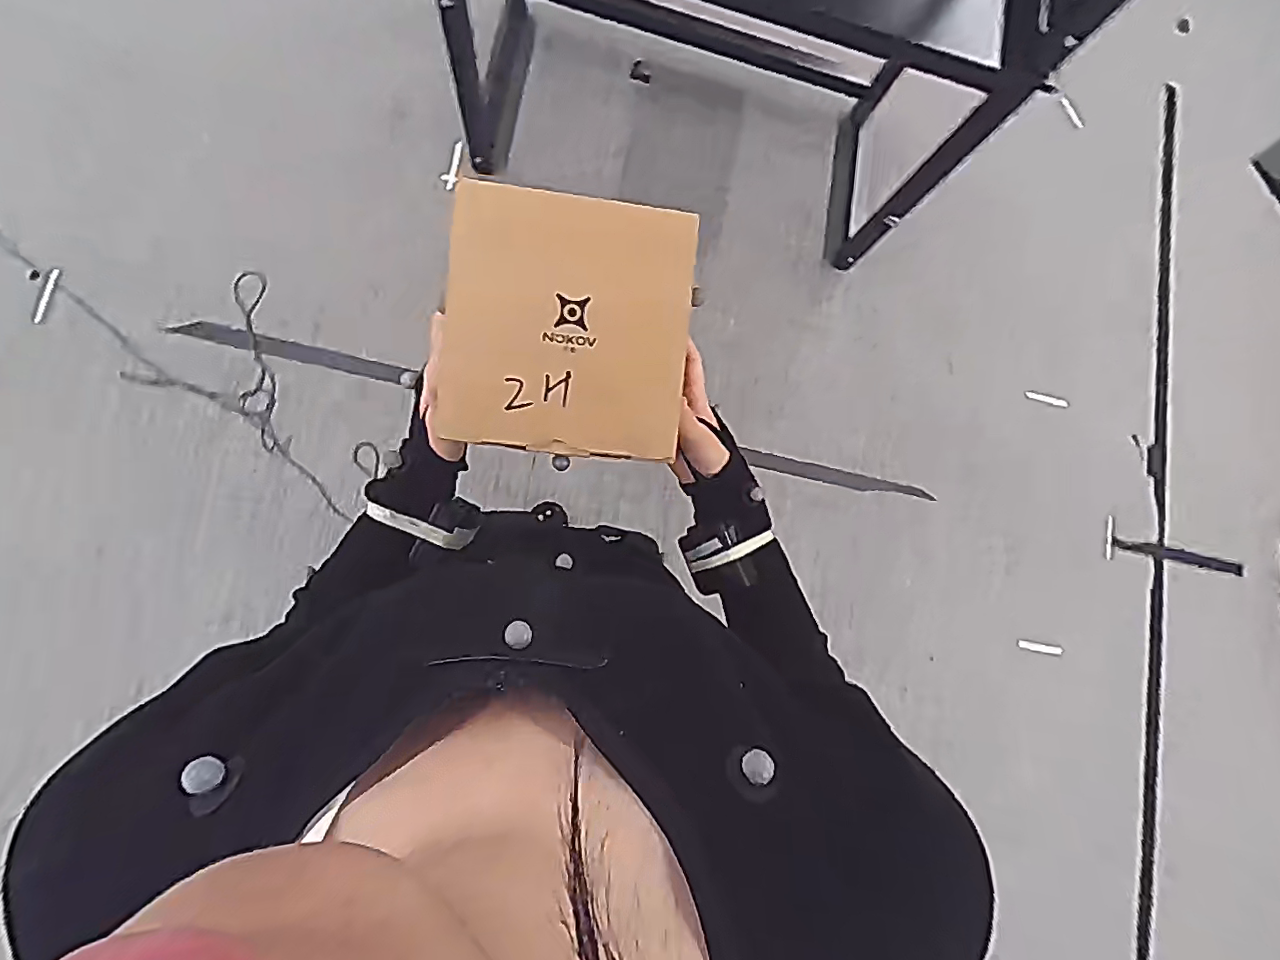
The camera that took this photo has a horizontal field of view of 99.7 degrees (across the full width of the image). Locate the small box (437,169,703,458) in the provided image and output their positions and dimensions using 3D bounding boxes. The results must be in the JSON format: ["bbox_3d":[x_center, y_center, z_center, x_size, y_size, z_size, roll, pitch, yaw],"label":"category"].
[{"bbox_3d":[-0.055,-0.113,0.443,0.168,0.176,0.179,5,92,-6],"label":"small box"}]
